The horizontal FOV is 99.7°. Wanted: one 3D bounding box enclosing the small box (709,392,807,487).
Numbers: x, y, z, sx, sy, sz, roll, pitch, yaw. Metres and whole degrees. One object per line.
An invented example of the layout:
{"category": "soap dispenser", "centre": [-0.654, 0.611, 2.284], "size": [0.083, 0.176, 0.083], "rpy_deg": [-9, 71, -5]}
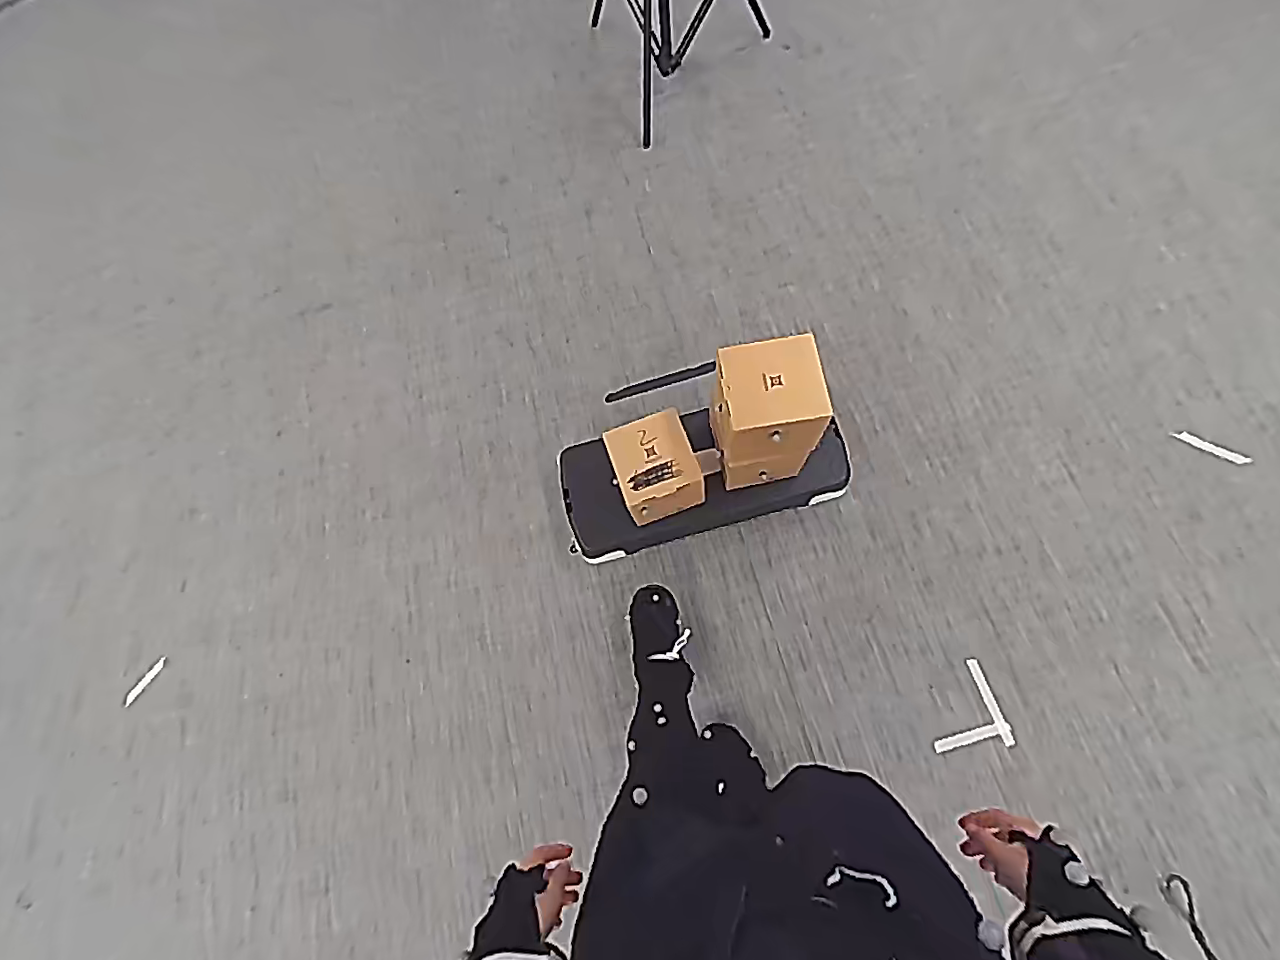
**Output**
{"category": "small box", "centre": [0.249, -0.093, 1.176], "size": [0.168, 0.176, 0.179], "rpy_deg": [-12, 71, 3]}

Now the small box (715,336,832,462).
{"category": "small box", "centre": [0.241, -0.145, 1.022], "size": [0.179, 0.176, 0.168], "rpy_deg": [-9, 72, 5]}
